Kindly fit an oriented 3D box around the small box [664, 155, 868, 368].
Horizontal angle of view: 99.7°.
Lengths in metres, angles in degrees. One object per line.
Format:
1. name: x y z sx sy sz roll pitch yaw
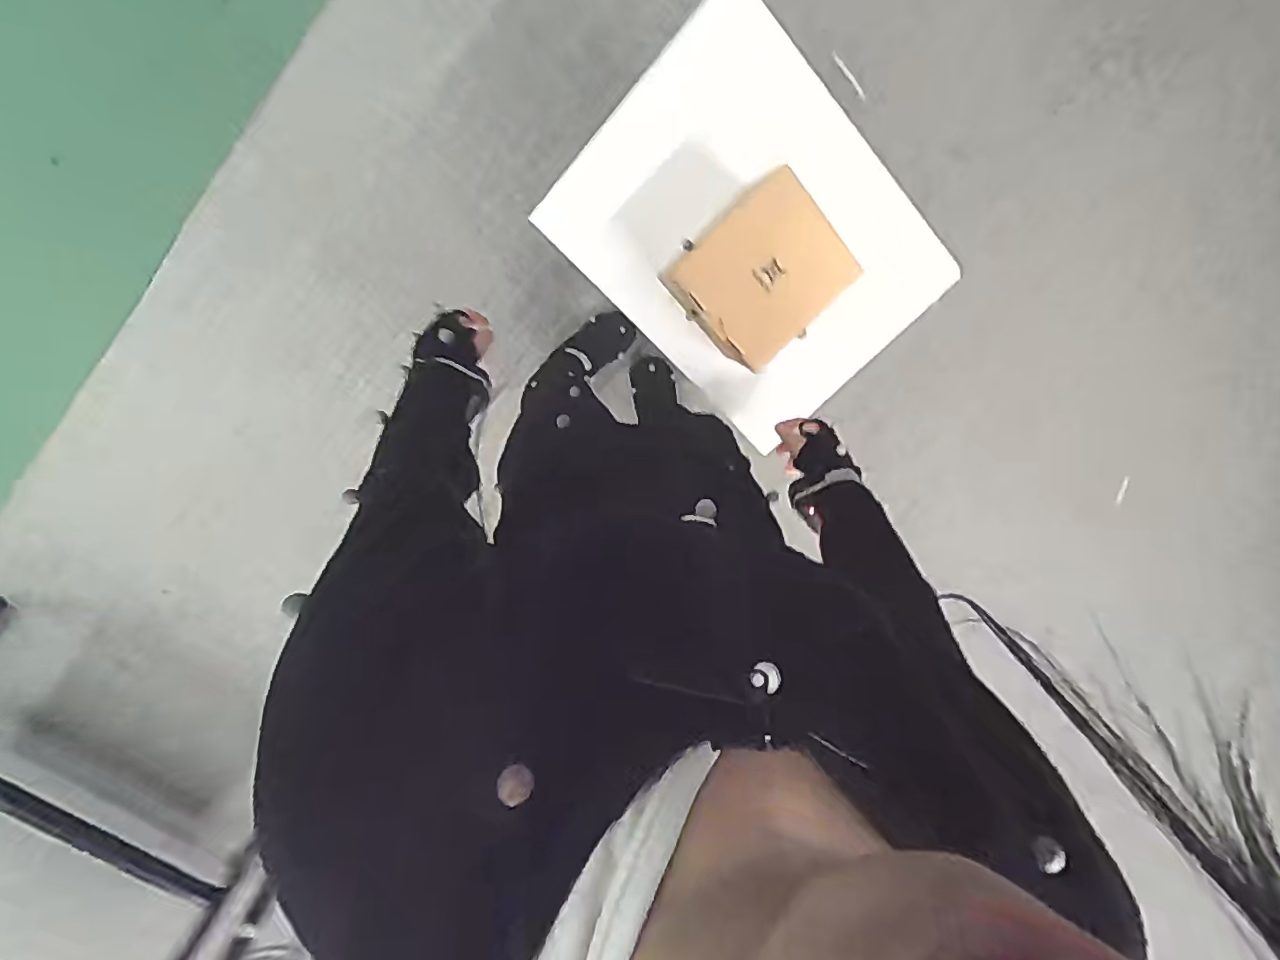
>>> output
1. small box: 0.148 -0.274 0.703 0.179 0.176 0.168 -42 106 11
